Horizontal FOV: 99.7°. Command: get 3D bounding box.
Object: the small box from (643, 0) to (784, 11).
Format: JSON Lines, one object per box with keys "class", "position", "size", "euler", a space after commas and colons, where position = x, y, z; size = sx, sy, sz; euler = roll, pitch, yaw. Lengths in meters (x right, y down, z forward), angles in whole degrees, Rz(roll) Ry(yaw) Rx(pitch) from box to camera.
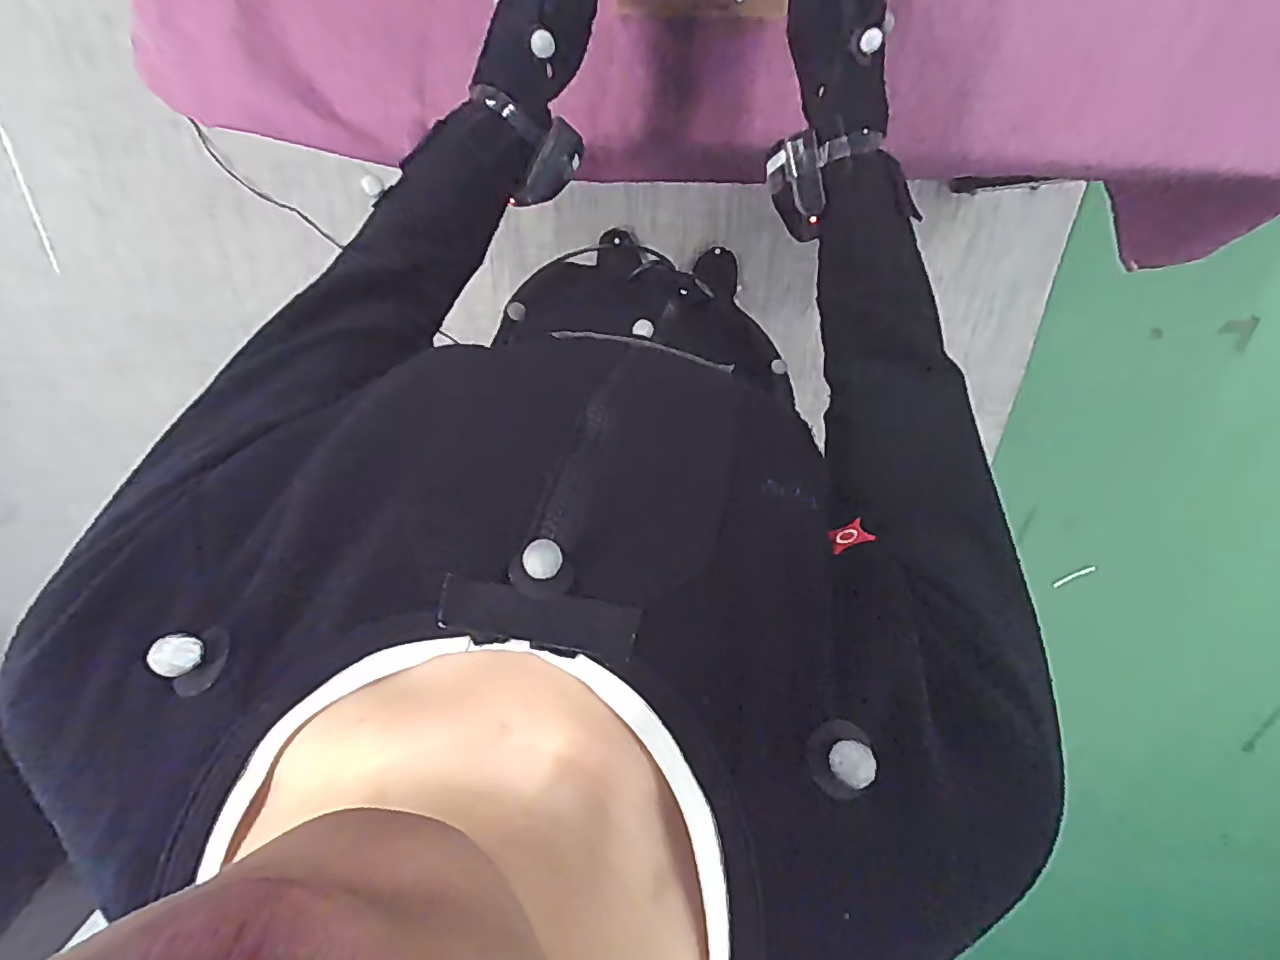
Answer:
{"class": "small box", "position": [0.058, -0.501, 0.419], "size": [0.168, 0.176, 0.179], "euler": [5, 115, 2]}
